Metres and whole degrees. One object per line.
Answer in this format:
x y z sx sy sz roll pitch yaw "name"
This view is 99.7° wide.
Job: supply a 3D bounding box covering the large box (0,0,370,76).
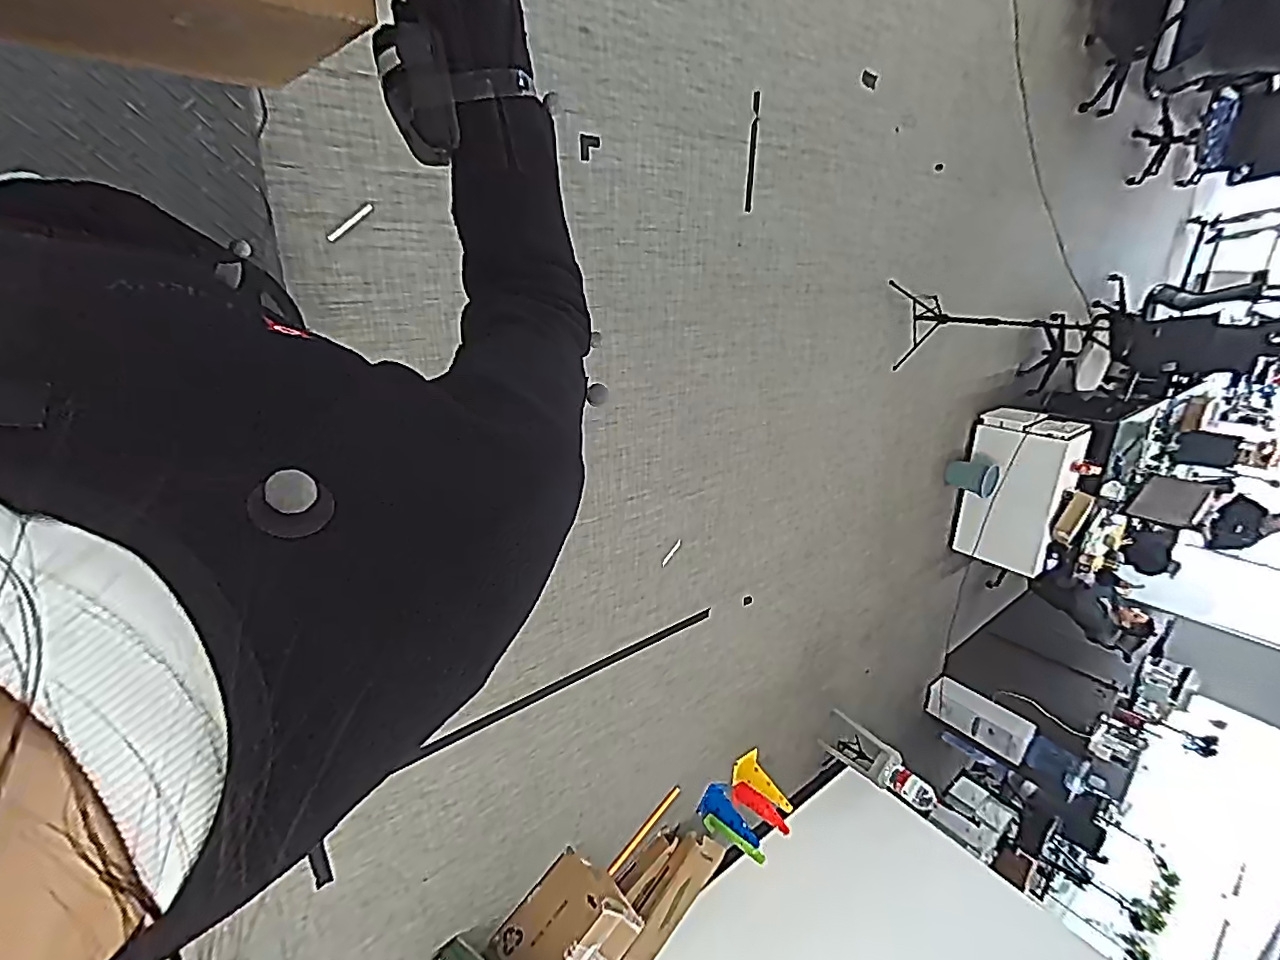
-0.389 -0.400 0.218 0.408 0.320 0.320 -18 125 -36 "large box"
